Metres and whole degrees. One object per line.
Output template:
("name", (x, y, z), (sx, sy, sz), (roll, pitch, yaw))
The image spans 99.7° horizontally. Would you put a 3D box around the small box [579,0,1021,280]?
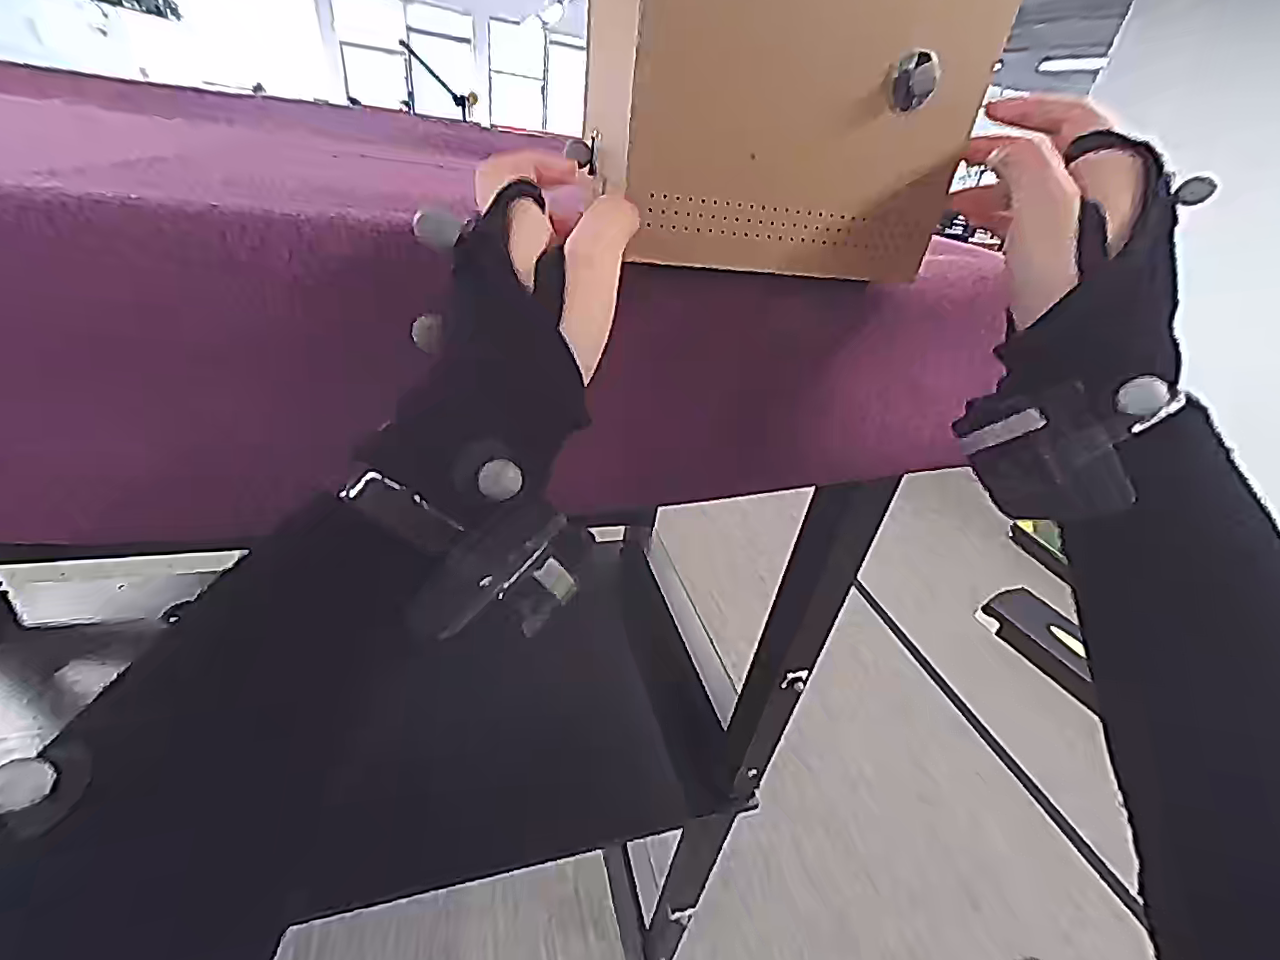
("small box", (0.065, -0.218, 0.304), (0.179, 0.176, 0.168), (-1, 33, -14))
